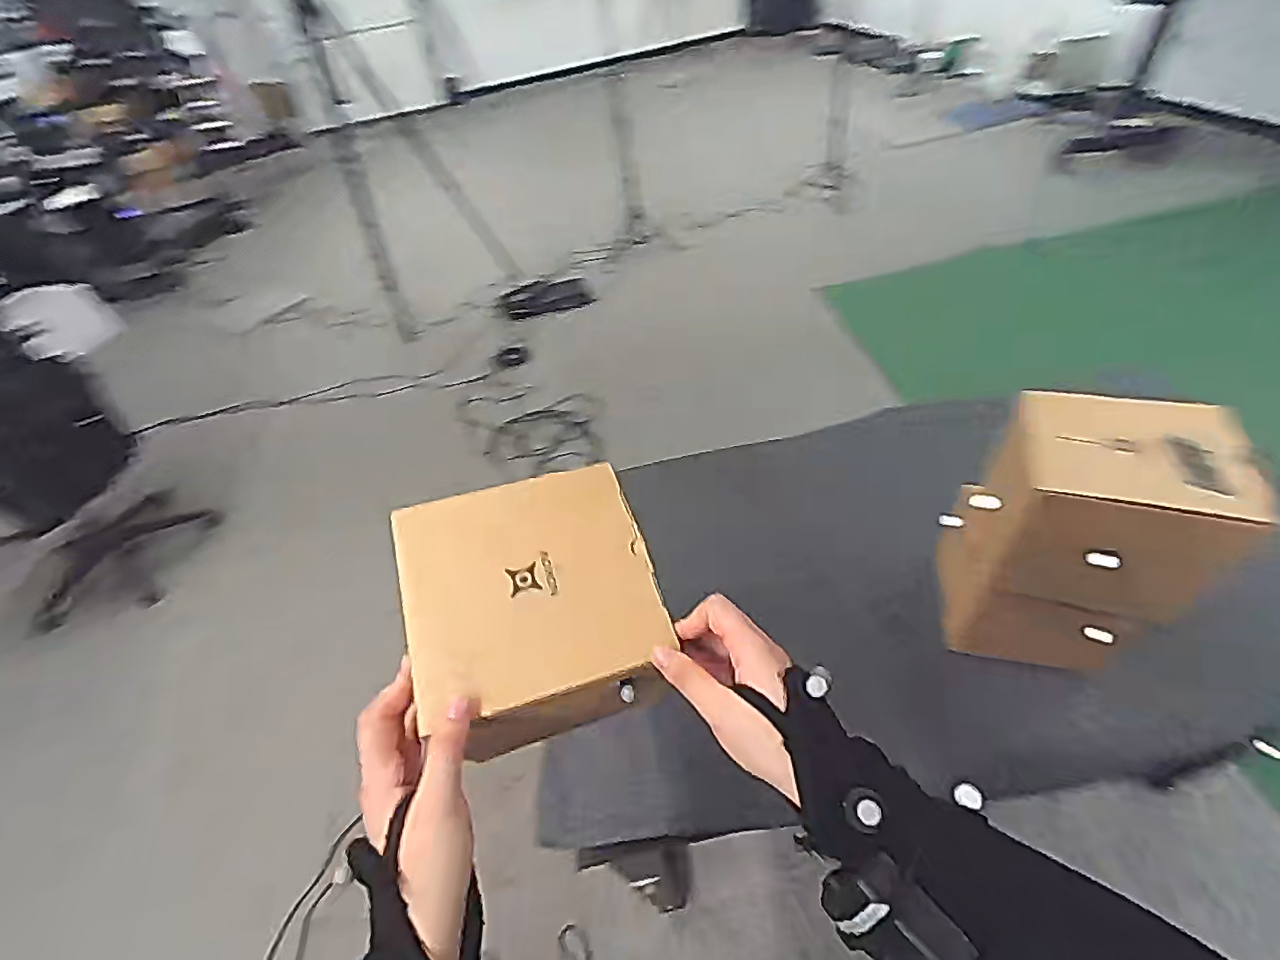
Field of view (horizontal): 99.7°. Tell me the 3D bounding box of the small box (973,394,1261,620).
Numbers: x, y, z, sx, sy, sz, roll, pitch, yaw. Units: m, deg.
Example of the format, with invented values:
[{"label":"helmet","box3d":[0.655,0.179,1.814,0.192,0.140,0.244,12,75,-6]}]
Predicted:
[{"label":"small box","box3d":[0.490,0.030,0.593,0.179,0.176,0.168,10,48,21]}]
